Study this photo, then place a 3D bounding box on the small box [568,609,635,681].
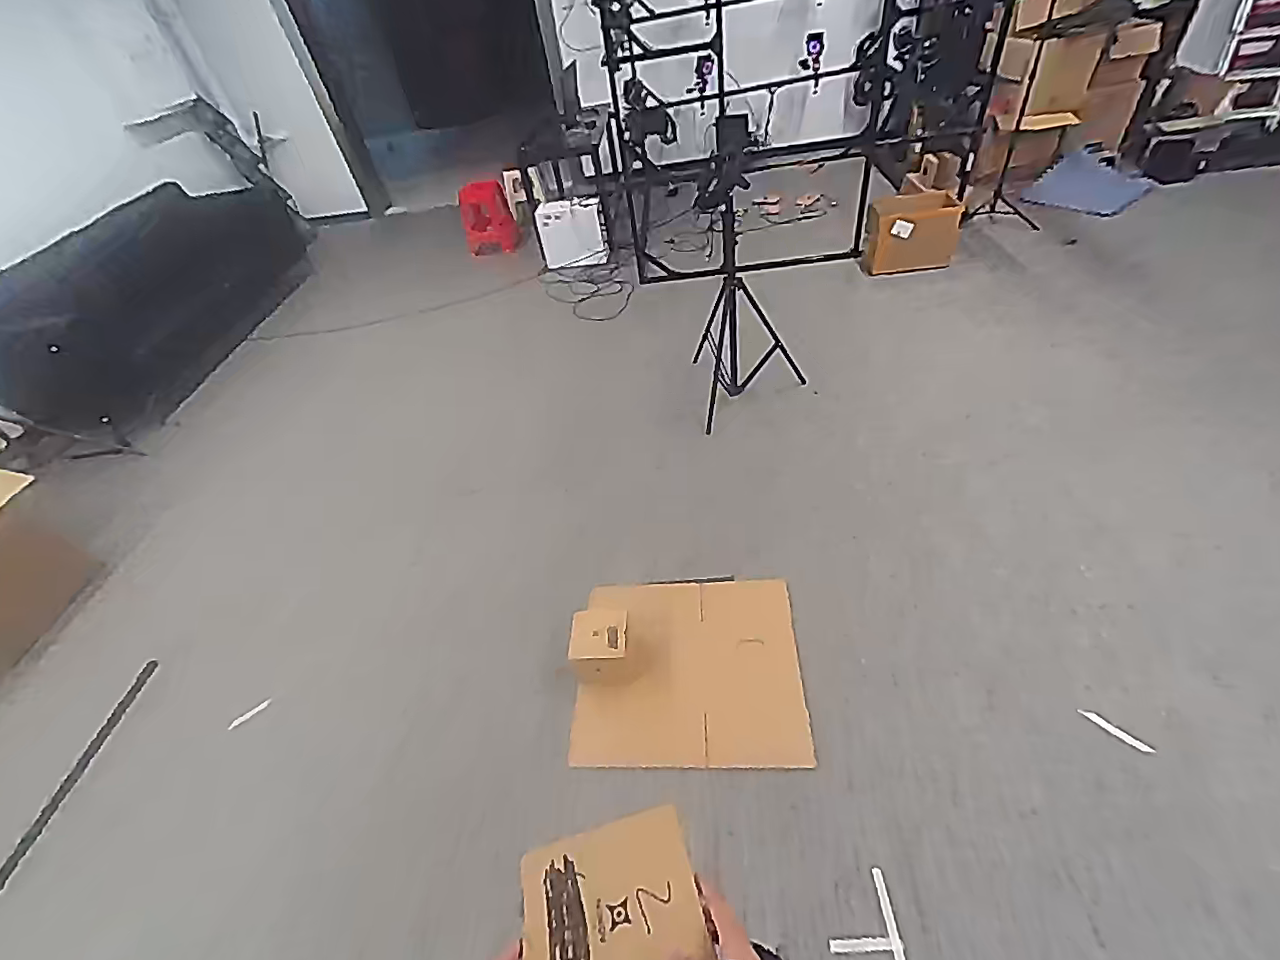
[{"bbox_3d":[-0.114,0.523,1.708,0.179,0.176,0.168,-4,44,8],"label":"small box"}]
